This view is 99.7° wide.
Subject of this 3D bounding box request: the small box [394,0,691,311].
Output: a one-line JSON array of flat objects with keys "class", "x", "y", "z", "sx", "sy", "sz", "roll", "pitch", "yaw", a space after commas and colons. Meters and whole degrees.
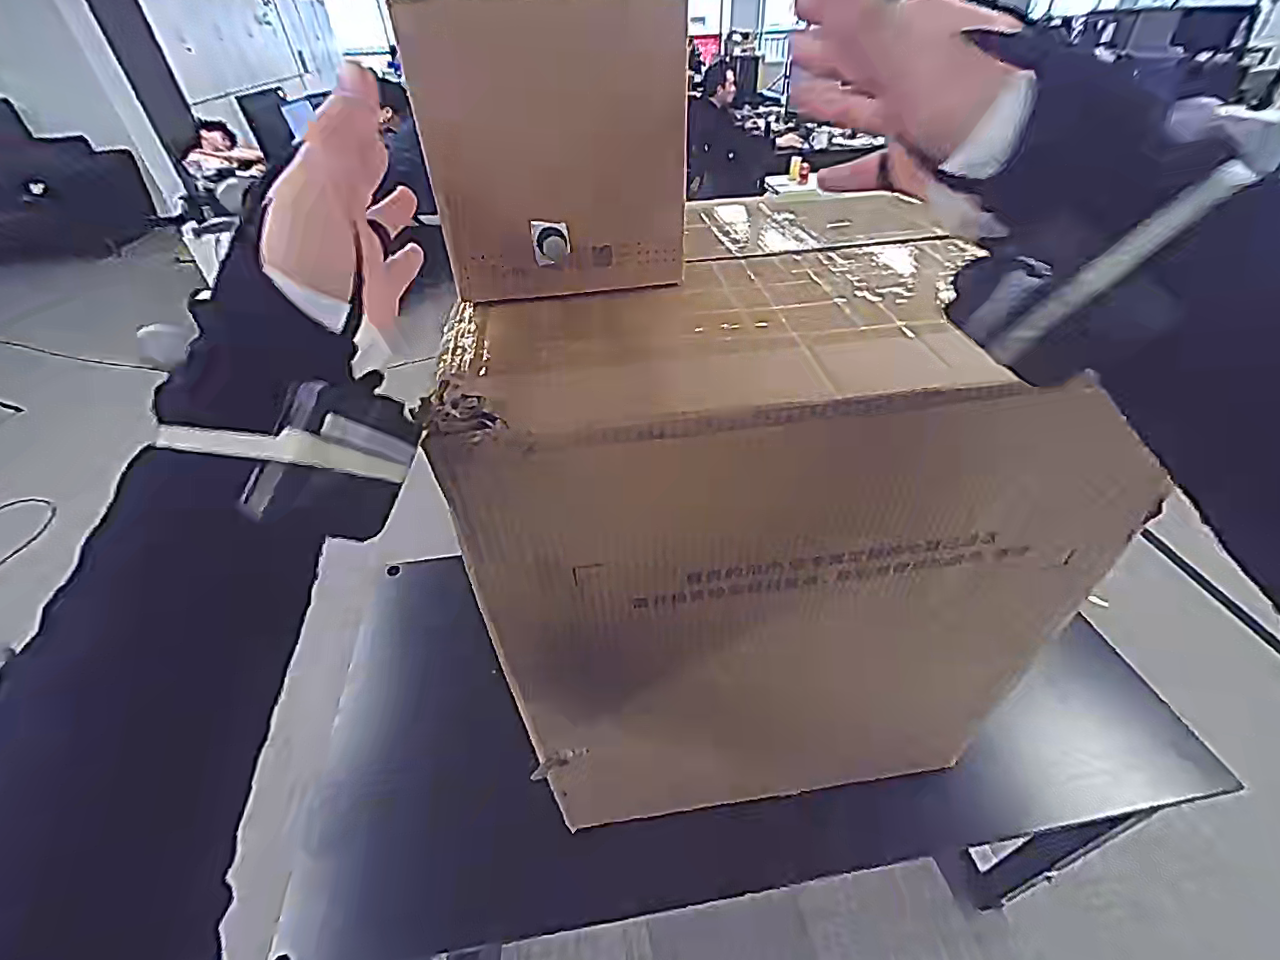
[{"class": "small box", "x": -0.064, "y": -0.245, "z": 0.410, "sx": 0.168, "sy": 0.176, "sz": 0.179, "roll": -10, "pitch": 41, "yaw": -7}]
